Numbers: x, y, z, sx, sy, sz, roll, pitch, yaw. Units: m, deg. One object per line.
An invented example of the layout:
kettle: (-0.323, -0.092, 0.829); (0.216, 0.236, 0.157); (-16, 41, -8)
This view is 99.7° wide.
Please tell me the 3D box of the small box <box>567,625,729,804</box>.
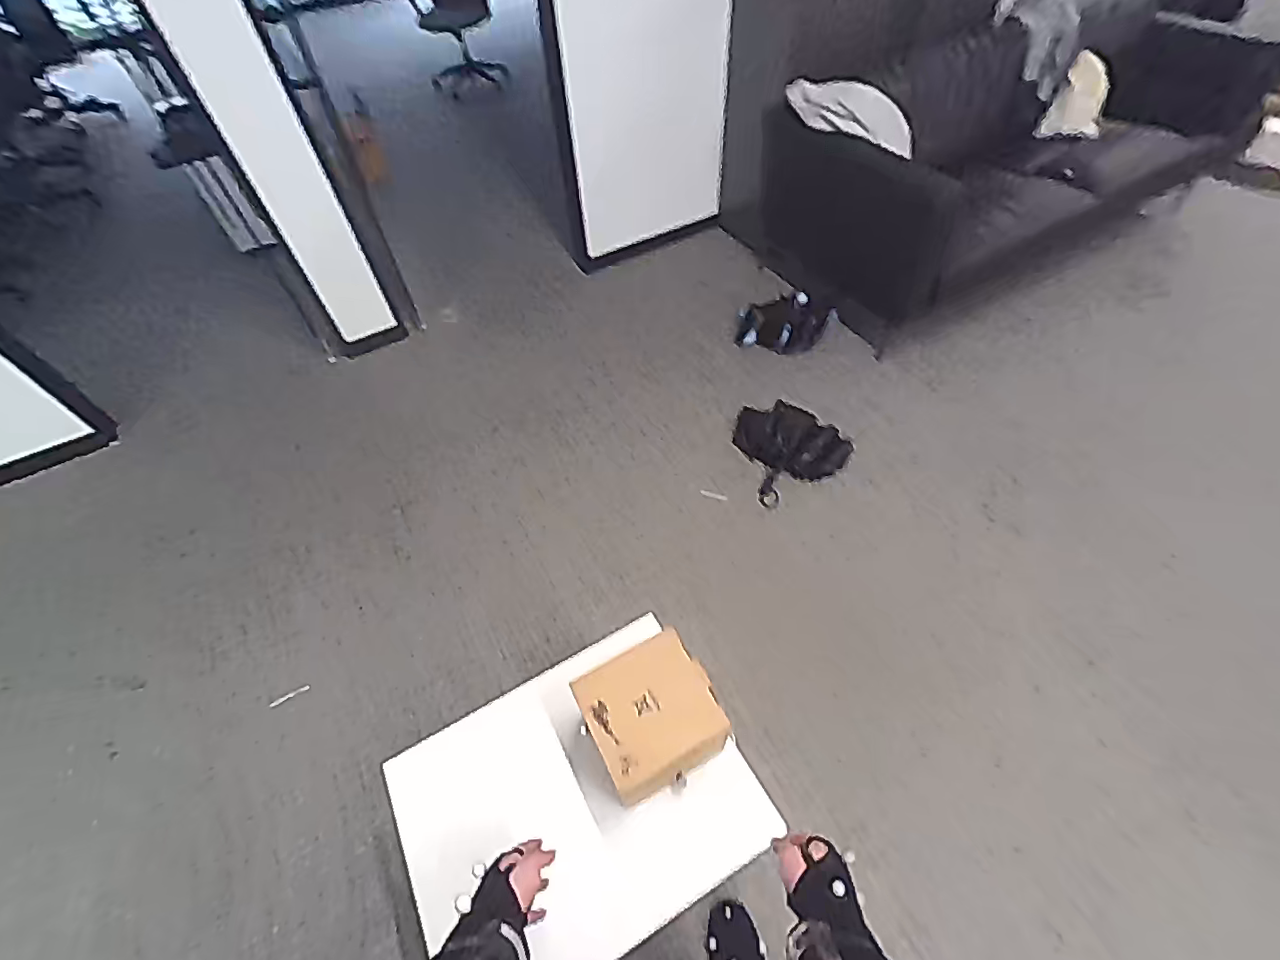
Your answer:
small box: (0.007, 0.352, 0.809); (0.179, 0.176, 0.168); (-23, 55, -16)
